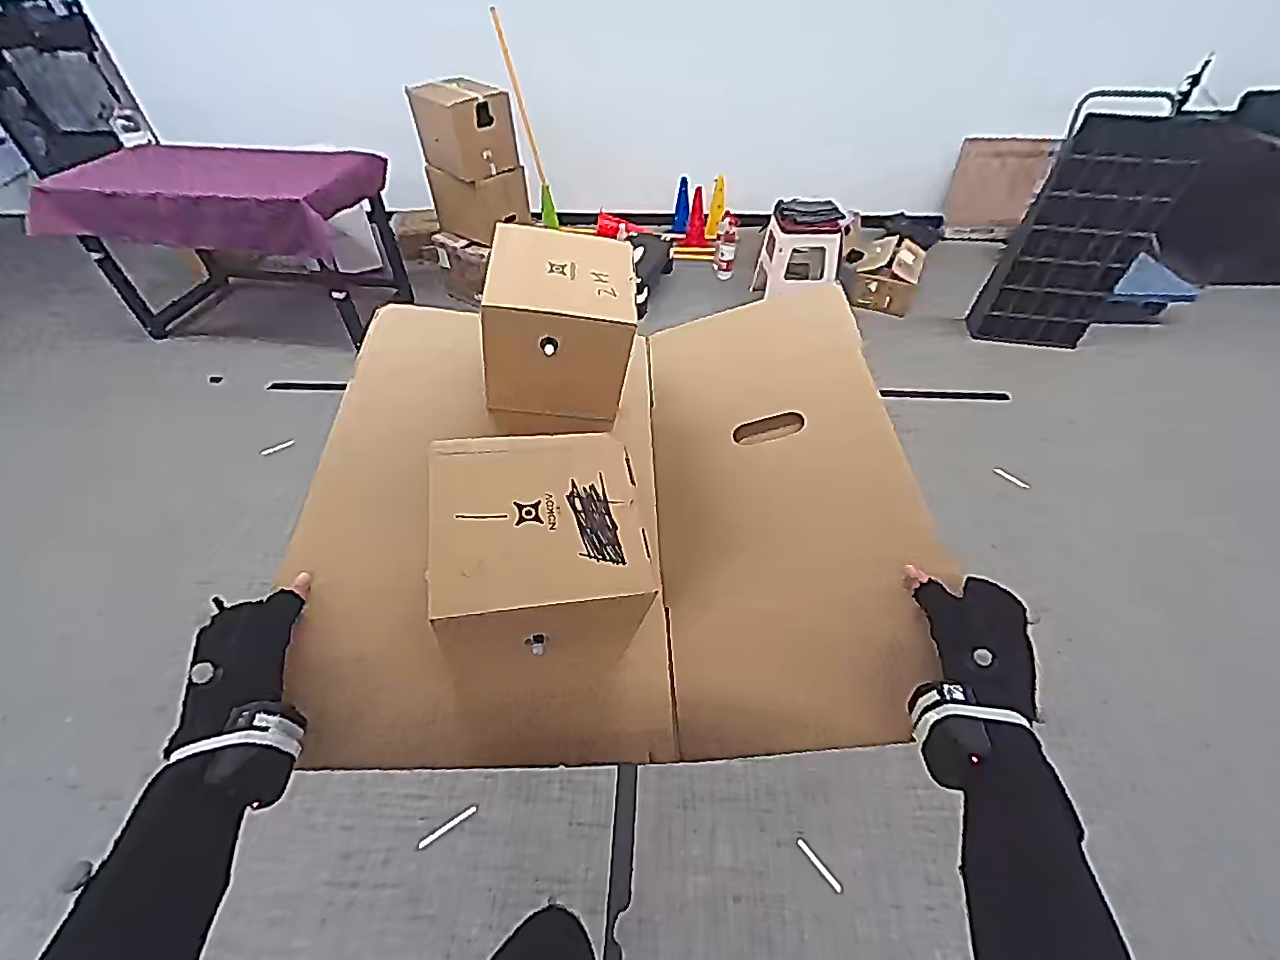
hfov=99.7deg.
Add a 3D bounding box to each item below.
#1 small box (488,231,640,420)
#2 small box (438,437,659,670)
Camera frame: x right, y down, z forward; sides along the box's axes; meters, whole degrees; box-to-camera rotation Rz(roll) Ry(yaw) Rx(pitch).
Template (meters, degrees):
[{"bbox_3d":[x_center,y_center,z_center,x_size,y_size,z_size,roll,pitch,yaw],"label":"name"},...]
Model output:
[{"bbox_3d":[-0.101,-0.198,0.722,0.179,0.176,0.168,6,55,-10],"label":"small box"},{"bbox_3d":[-0.096,0.074,0.530,0.179,0.176,0.168,-4,57,-14],"label":"small box"}]
